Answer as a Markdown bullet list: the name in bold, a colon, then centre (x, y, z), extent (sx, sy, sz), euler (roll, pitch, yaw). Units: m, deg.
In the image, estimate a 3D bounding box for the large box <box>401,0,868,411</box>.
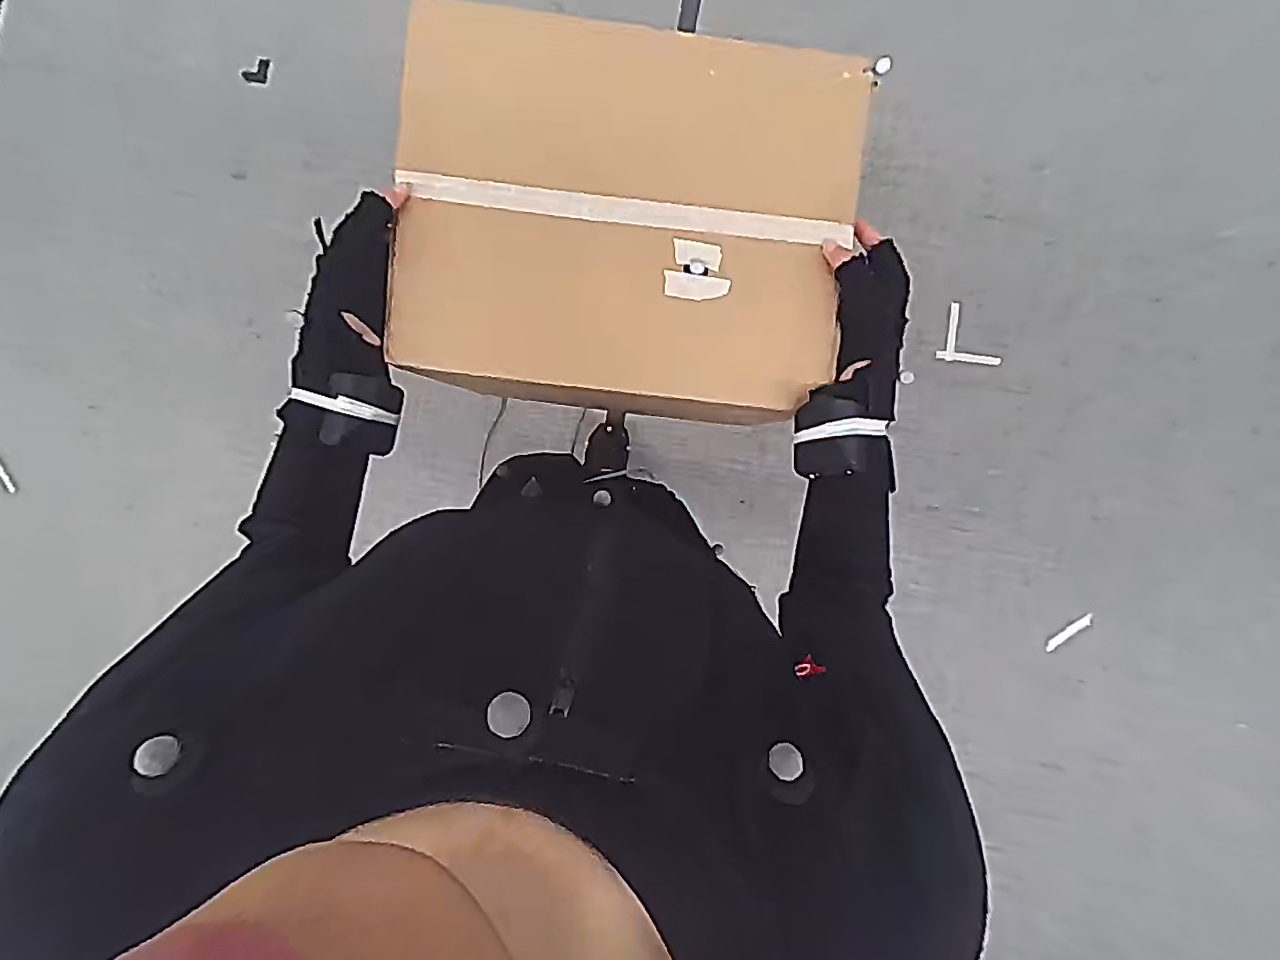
- **large box**: centre (-0.013, -0.261, 0.637), extent (0.408, 0.320, 0.320), euler (7, 95, -3)
